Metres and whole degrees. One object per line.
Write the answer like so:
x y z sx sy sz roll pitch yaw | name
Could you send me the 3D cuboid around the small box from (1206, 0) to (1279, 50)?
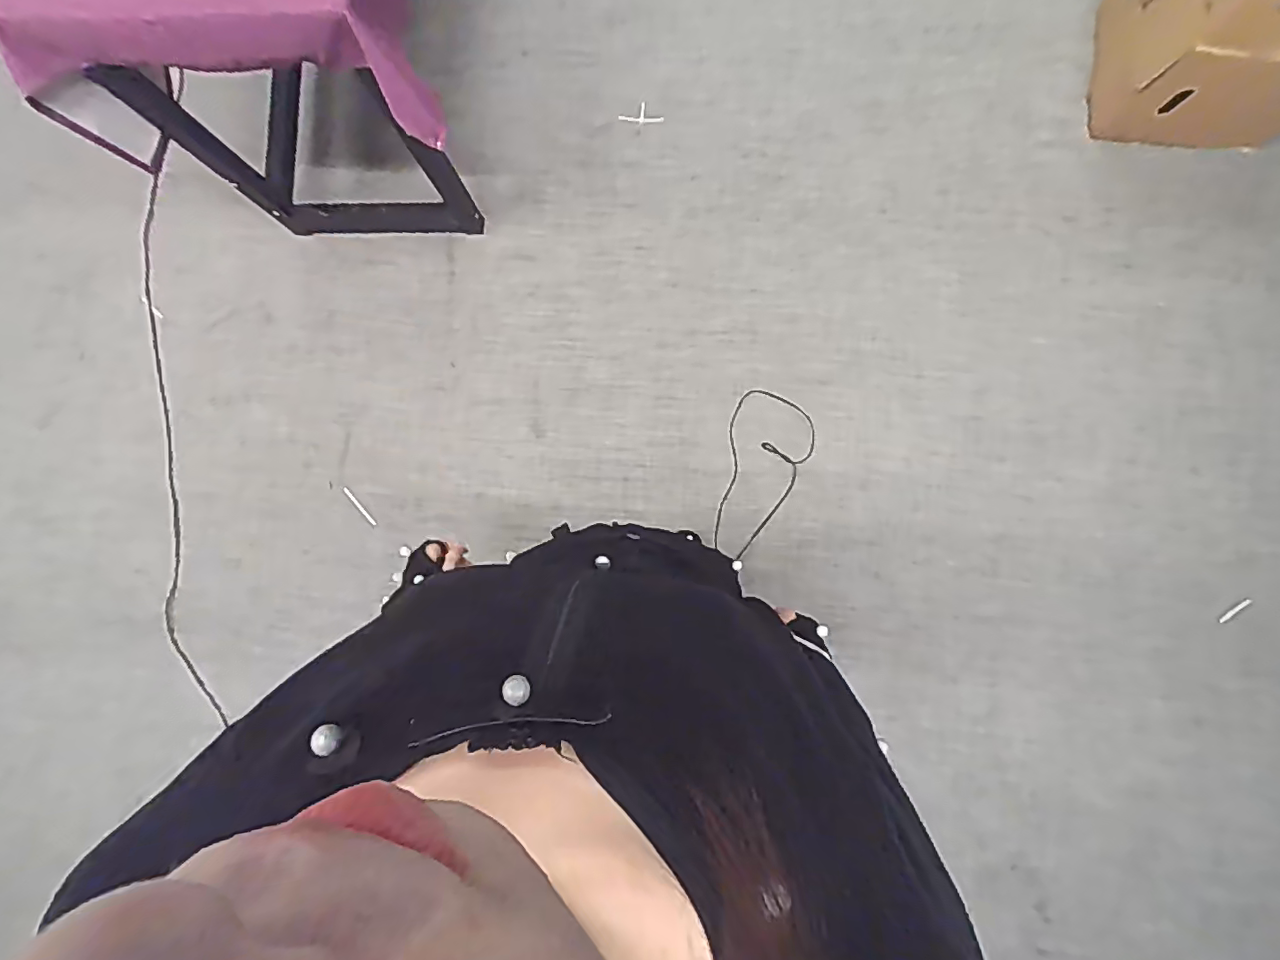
1.380 -1.068 1.151 0.179 0.176 0.168 12 88 1 | small box
